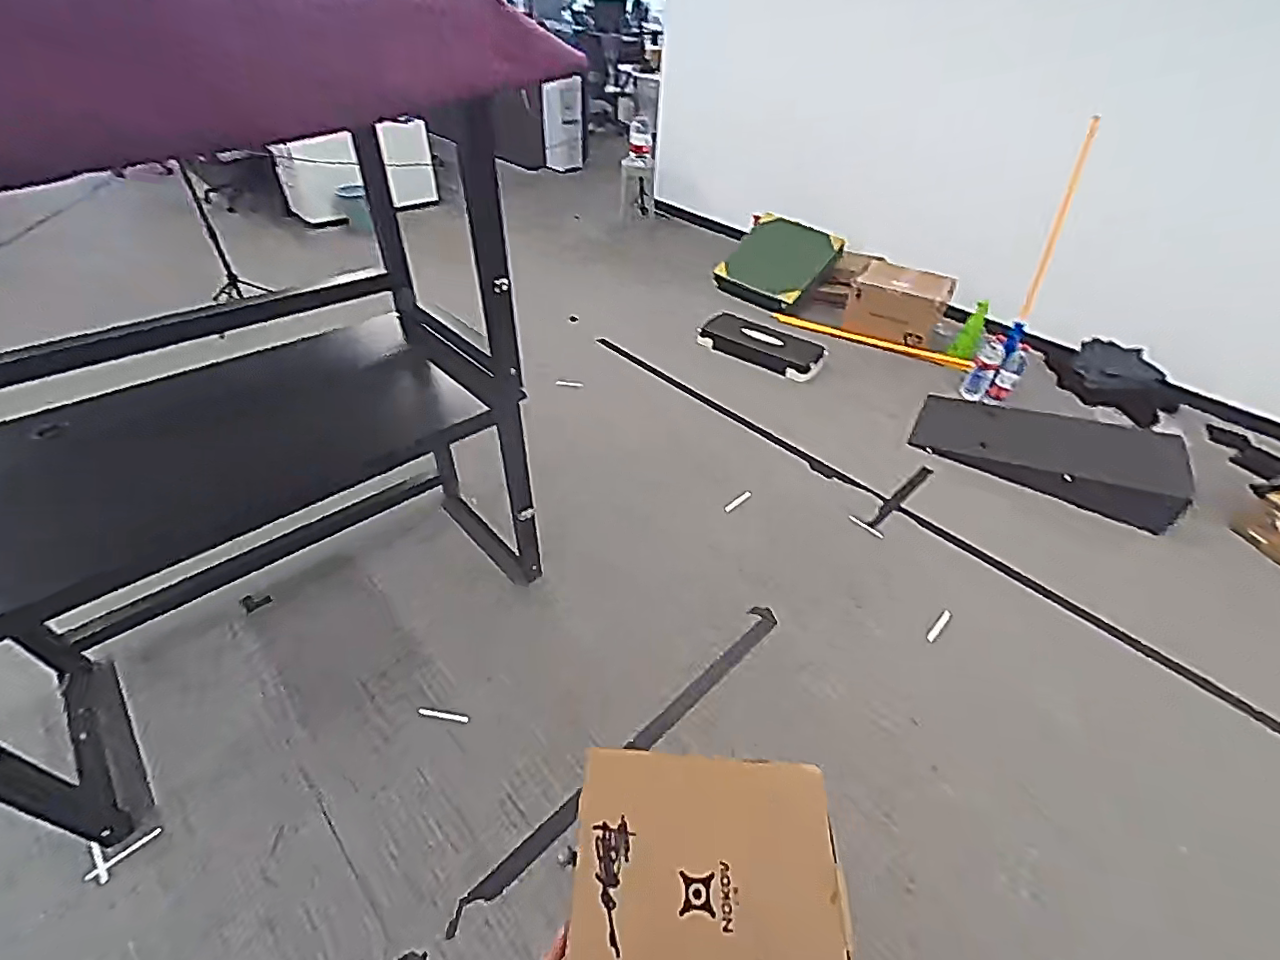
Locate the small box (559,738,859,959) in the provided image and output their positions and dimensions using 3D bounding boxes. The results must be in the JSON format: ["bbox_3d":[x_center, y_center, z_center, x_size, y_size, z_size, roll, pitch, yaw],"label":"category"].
[{"bbox_3d":[0.037,0.308,0.399,0.179,0.176,0.168,7,49,-4],"label":"small box"}]
